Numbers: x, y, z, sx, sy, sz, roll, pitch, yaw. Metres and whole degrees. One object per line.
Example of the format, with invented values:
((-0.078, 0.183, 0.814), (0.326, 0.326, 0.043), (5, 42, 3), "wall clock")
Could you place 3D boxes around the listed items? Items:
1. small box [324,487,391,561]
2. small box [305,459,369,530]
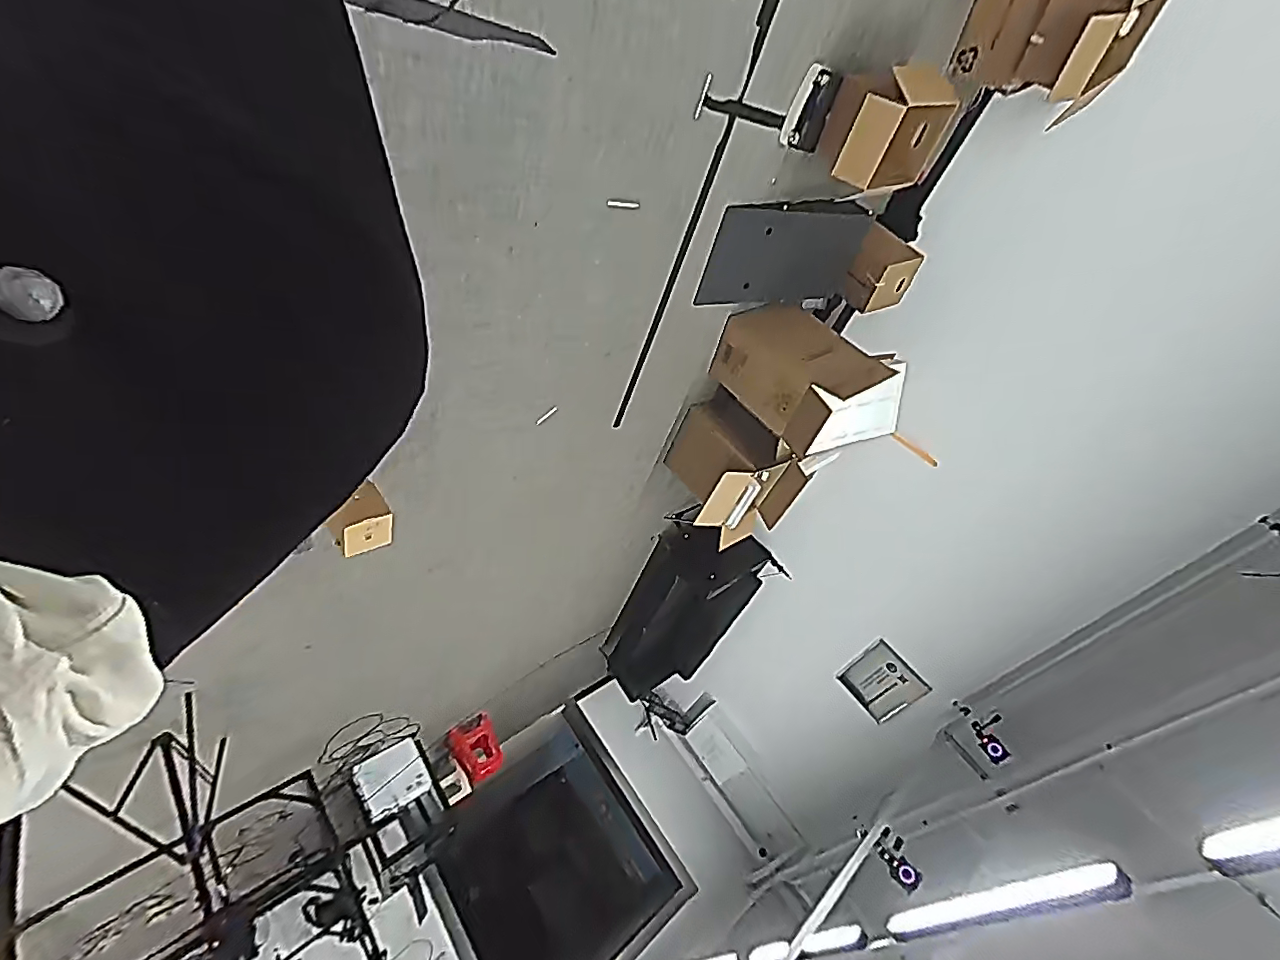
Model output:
((-1.019, 0.154, 1.946), (0.168, 0.176, 0.179), (-20, 146, -42), "small box")
((-1.127, 0.050, 2.012), (0.168, 0.176, 0.179), (-20, 147, -42), "small box")
